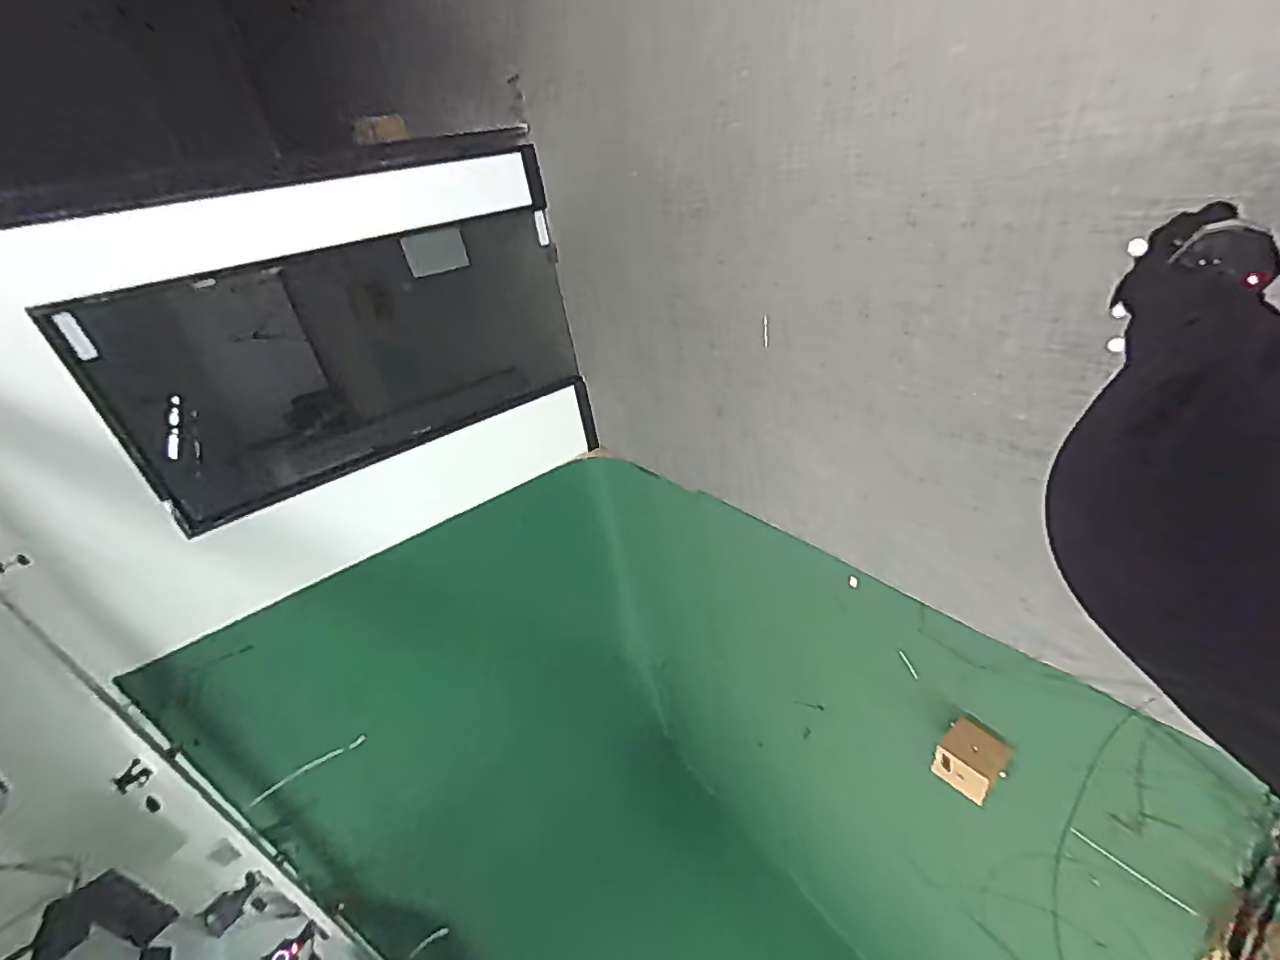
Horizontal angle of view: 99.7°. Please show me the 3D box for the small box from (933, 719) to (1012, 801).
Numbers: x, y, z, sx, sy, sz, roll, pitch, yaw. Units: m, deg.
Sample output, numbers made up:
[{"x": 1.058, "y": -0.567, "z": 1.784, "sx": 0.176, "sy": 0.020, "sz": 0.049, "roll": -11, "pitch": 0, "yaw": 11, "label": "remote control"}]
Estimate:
[{"x": 1.197, "y": 0.997, "z": 1.950, "sx": 0.179, "sy": 0.176, "sz": 0.168, "roll": 30, "pitch": 139, "yaw": 44, "label": "small box"}]
